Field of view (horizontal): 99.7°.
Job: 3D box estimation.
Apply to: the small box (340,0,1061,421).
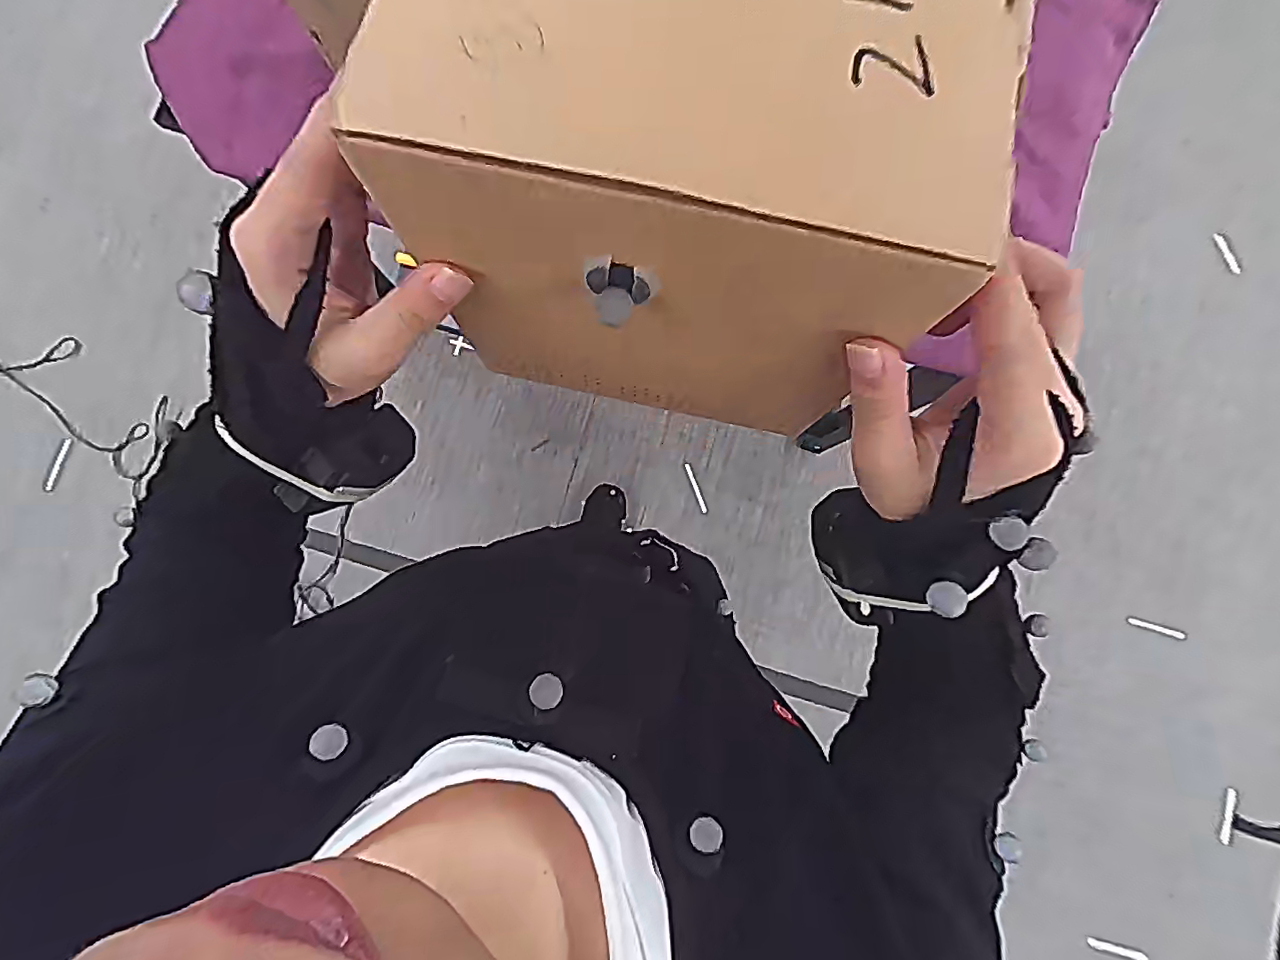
[{"bbox_3d":[0.025,-0.135,0.223,0.179,0.176,0.168,13,81,0],"label":"small box"}]
